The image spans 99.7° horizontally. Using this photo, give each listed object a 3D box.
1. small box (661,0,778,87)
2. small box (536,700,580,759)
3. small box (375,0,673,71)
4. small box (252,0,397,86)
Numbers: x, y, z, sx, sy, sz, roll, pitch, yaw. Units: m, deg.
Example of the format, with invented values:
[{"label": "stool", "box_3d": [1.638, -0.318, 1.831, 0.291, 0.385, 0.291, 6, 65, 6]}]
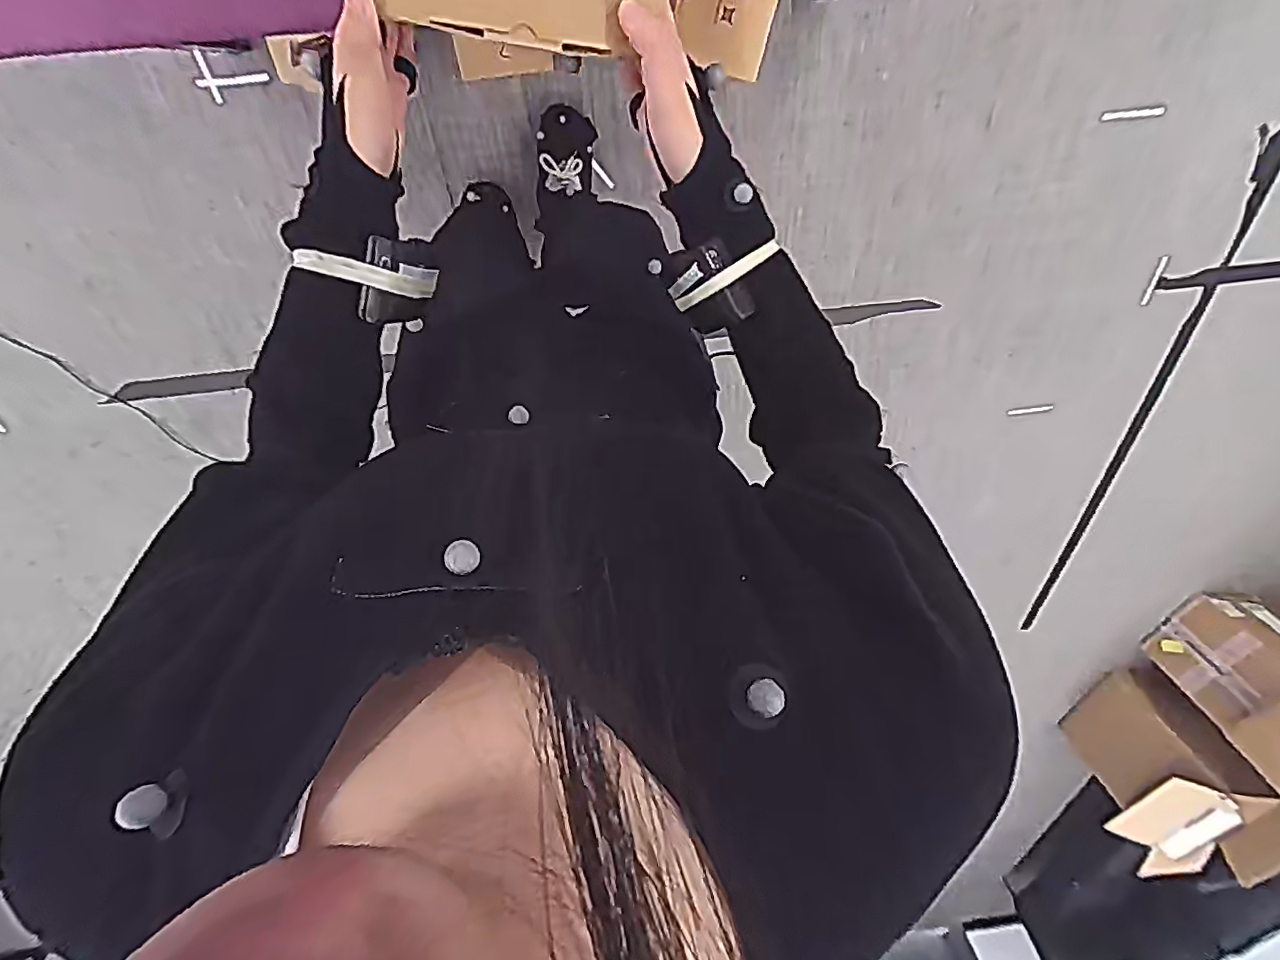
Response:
[{"label": "small box", "box_3d": [0.138, -0.861, 1.012, 0.179, 0.176, 0.168, 7, 125, -12]}, {"label": "small box", "box_3d": [-0.356, 1.098, 2.382, 0.168, 0.176, 0.179, -8, 128, -2]}, {"label": "small box", "box_3d": [-0.066, -0.368, 0.317, 0.168, 0.176, 0.179, -1, 131, -14]}, {"label": "small box", "box_3d": [-0.548, -0.805, 0.947, 0.168, 0.176, 0.179, -7, 126, -4]}]
